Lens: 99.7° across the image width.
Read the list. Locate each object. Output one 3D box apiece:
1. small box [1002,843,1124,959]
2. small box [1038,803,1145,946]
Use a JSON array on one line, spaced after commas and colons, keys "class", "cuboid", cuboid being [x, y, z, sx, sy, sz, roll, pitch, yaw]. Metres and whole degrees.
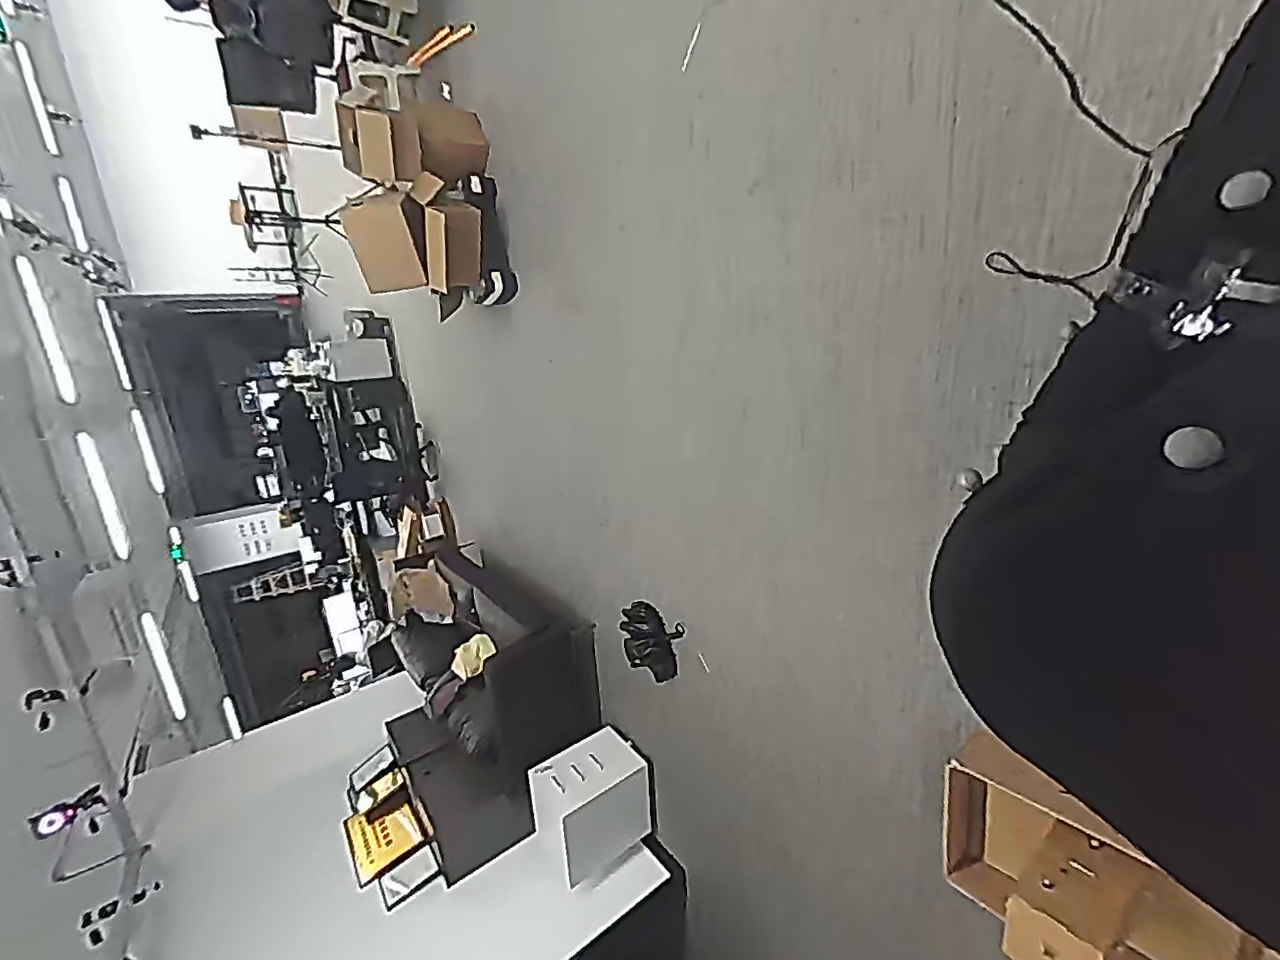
[{"class": "small box", "cuboid": [0.921, 0.951, 1.178, 0.168, 0.176, 0.179, 14, 116, 52]}, {"class": "small box", "cuboid": [1.050, 0.912, 1.269, 0.168, 0.176, 0.179, 16, 115, 51]}]
